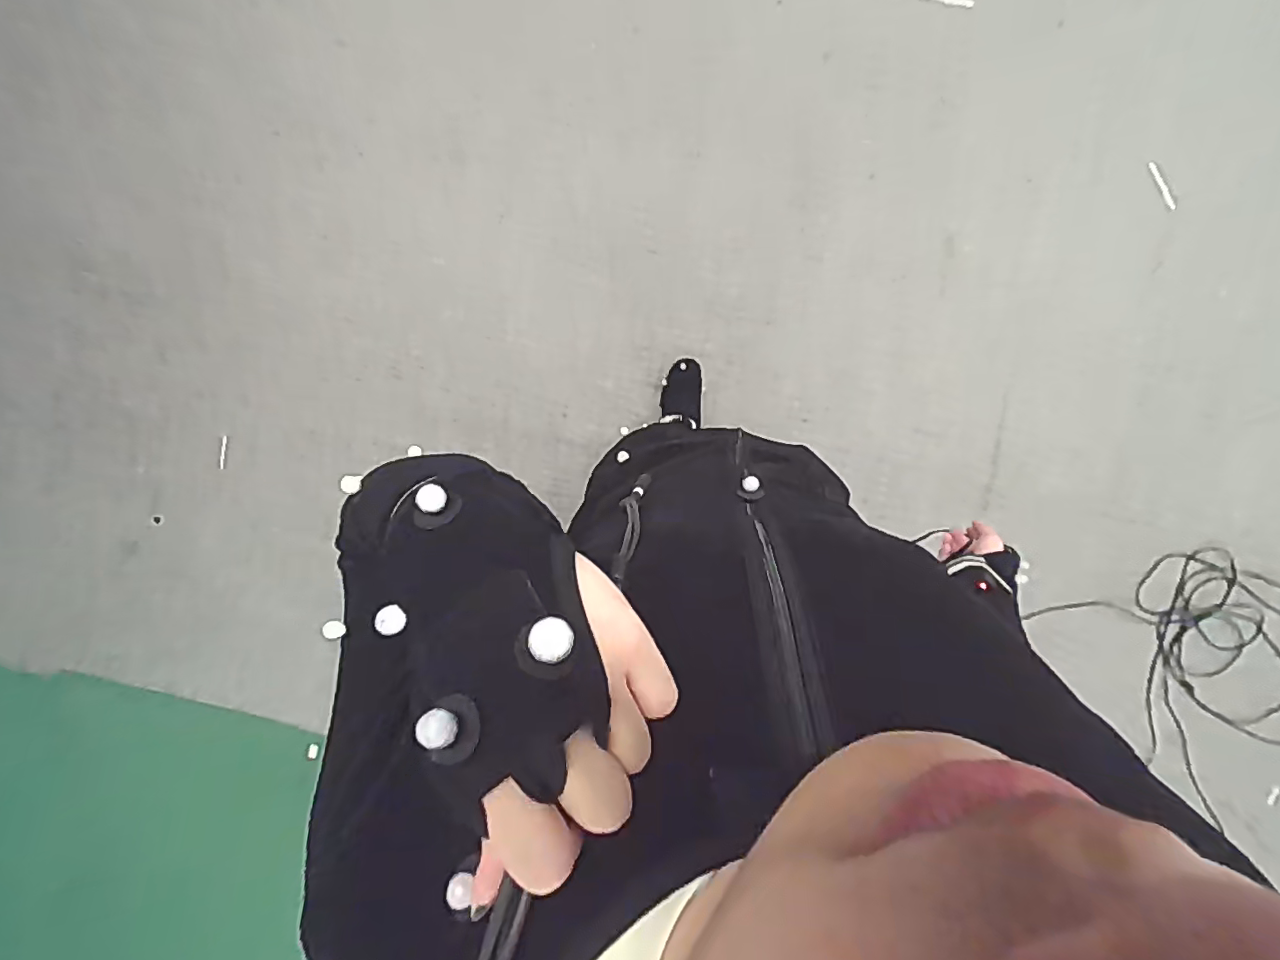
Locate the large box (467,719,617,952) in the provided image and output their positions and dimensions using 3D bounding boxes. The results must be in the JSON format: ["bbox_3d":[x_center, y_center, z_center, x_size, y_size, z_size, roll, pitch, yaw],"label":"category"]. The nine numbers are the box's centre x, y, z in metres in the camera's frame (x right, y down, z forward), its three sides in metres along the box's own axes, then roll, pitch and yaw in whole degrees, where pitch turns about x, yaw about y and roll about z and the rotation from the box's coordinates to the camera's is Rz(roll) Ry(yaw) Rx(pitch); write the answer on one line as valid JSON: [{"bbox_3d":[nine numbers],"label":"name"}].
[{"bbox_3d":[-0.244,0.920,1.443,0.320,0.320,0.408,10,99,1],"label":"large box"}]
